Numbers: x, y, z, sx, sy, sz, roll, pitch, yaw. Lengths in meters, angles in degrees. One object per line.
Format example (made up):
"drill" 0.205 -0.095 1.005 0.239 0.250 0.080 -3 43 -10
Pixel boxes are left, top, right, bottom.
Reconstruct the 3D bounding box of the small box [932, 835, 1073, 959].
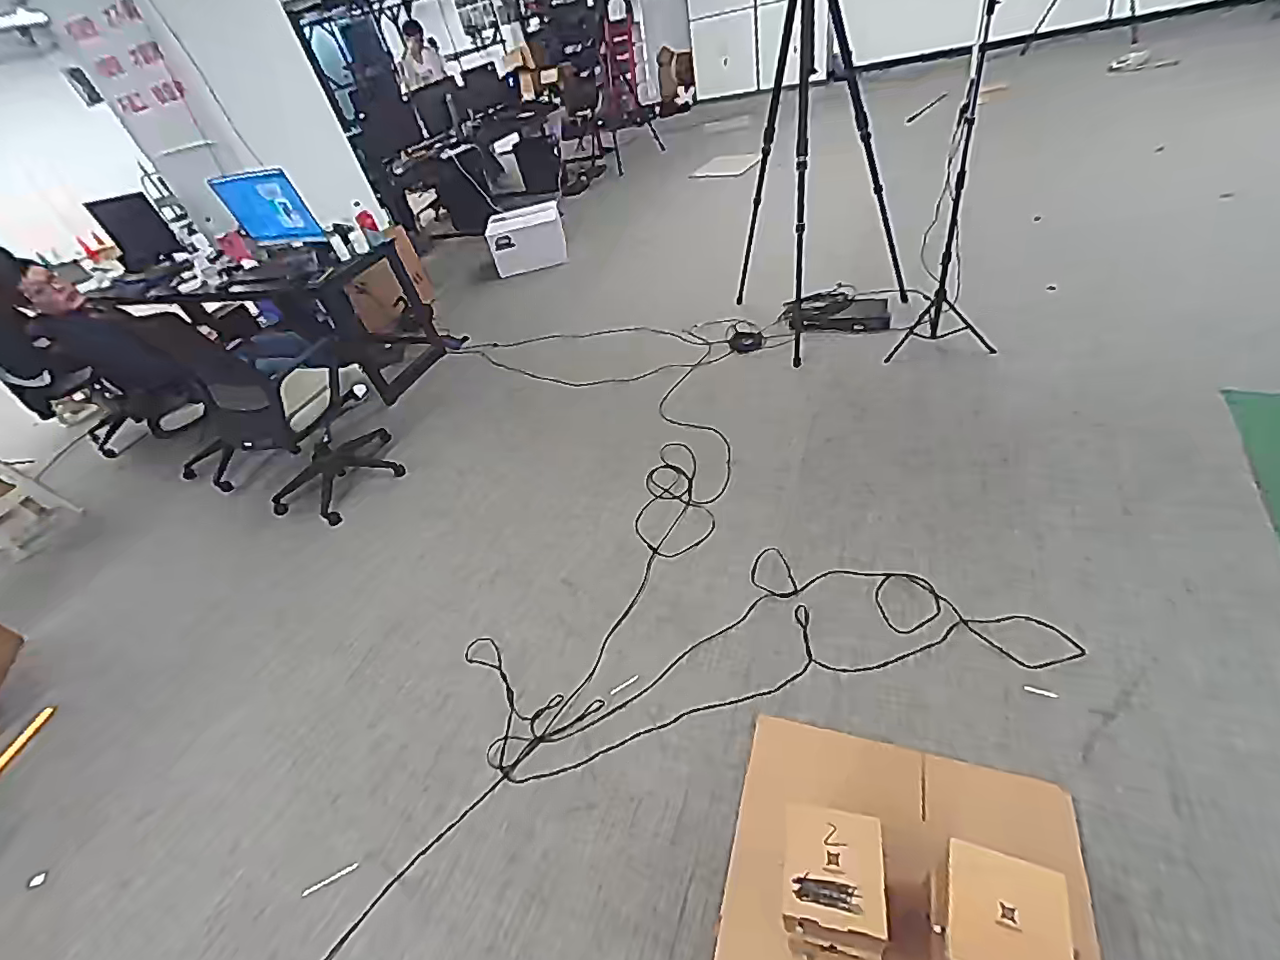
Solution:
"small box" 0.589 0.736 0.897 0.168 0.176 0.179 7 47 25

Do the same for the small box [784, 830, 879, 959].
"small box" 0.385 0.843 1.087 0.168 0.176 0.179 2 44 19

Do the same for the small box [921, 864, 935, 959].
"small box" 0.620 0.857 1.001 0.168 0.176 0.179 4 46 23
